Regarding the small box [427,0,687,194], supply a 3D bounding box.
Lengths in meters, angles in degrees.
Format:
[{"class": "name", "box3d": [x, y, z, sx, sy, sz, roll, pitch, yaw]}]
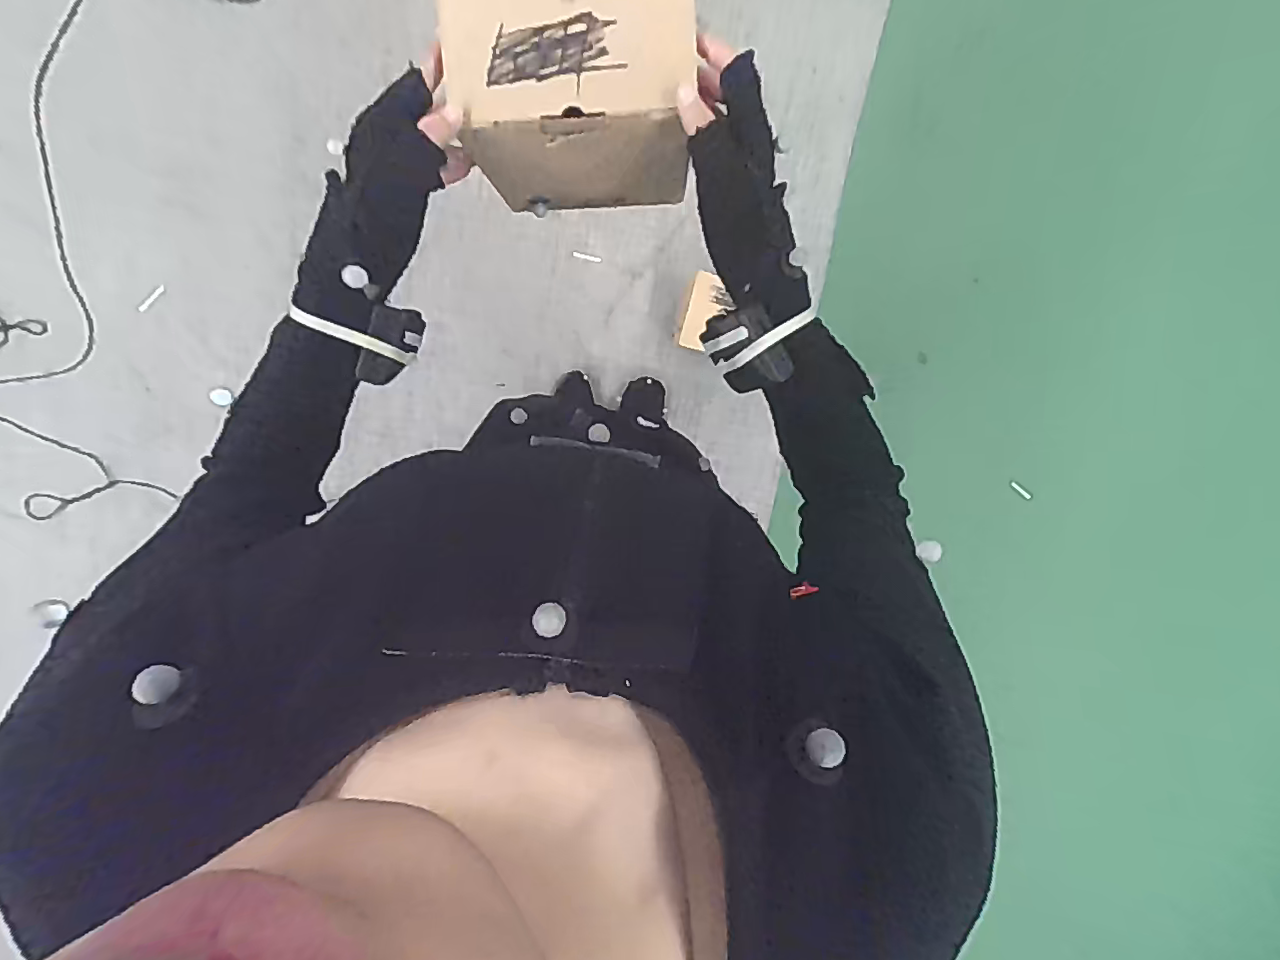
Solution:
[{"class": "small box", "box3d": [-0.050, -0.335, 0.411, 0.168, 0.176, 0.179, -2, 98, 2]}]
